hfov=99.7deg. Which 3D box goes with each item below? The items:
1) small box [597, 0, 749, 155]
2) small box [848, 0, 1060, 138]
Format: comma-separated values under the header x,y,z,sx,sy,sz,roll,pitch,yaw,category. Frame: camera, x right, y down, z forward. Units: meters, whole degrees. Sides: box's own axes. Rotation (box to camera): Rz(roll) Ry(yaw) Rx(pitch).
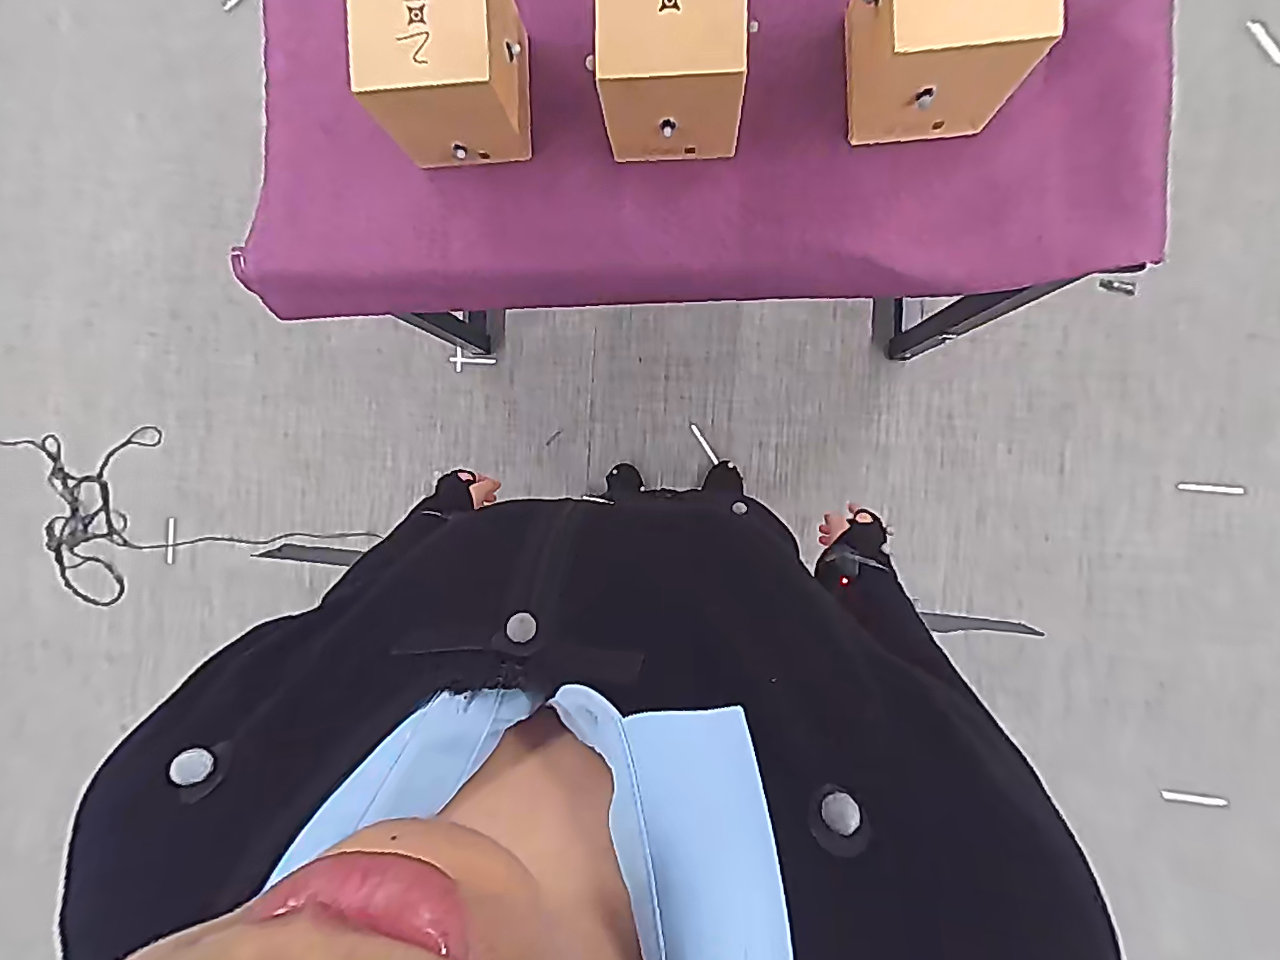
x,y,z,sx,sy,sz,roll,pitch,yaw,category
0.044,-0.527,0.663,0.168,0.176,0.179,1,92,4,small box
0.352,-0.533,0.636,0.168,0.176,0.179,-2,90,6,small box
